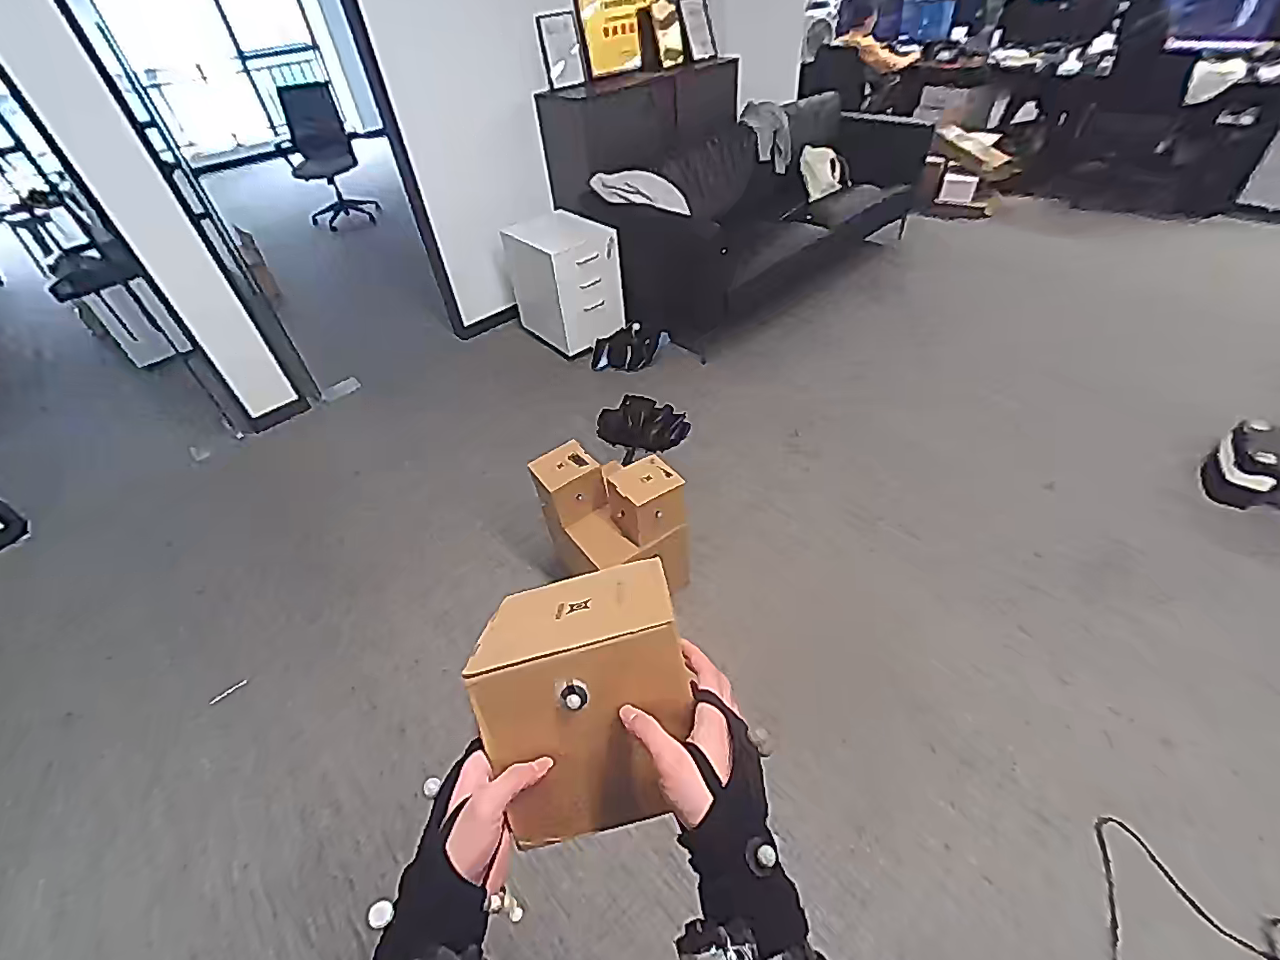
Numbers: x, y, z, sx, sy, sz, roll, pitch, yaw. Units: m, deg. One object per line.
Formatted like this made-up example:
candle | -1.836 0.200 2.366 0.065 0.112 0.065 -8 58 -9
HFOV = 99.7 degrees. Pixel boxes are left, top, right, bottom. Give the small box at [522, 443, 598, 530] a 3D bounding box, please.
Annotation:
small box | -0.245 0.021 1.699 0.179 0.176 0.168 -29 48 -20

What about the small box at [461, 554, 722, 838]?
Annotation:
small box | -0.038 0.188 0.500 0.179 0.176 0.168 -13 9 -2

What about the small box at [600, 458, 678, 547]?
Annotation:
small box | 0.002 0.070 1.623 0.179 0.176 0.168 -26 46 -24
